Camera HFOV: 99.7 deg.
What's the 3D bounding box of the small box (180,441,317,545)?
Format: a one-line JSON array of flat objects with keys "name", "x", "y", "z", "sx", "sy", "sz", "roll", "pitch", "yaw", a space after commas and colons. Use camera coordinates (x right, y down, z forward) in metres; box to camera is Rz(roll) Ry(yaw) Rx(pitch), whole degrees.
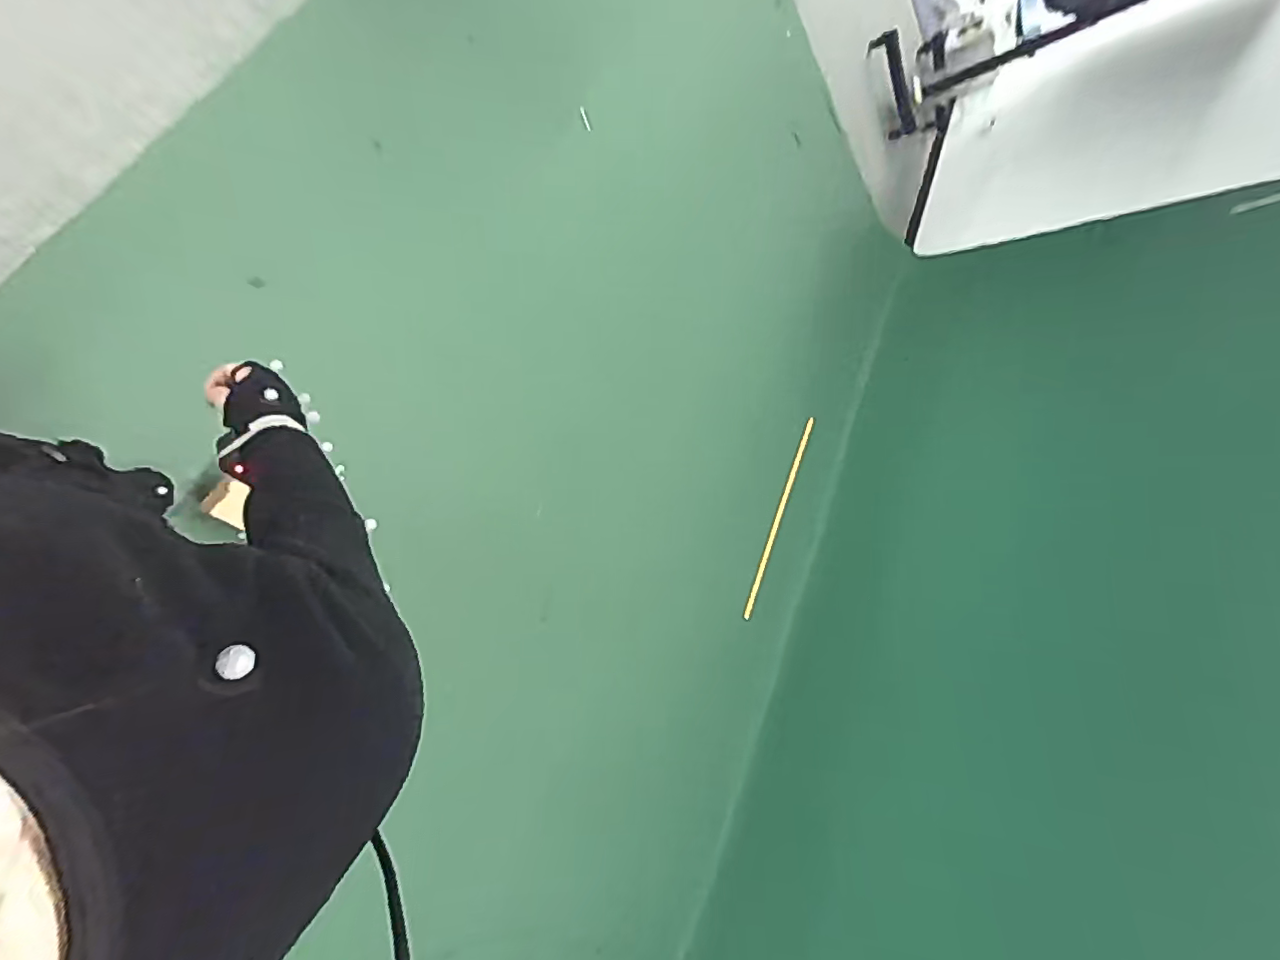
[{"name": "small box", "x": -0.878, "y": 0.024, "z": 1.214, "sx": 0.179, "sy": 0.176, "sz": 0.168, "roll": 45, "pitch": 62, "yaw": -38}]
